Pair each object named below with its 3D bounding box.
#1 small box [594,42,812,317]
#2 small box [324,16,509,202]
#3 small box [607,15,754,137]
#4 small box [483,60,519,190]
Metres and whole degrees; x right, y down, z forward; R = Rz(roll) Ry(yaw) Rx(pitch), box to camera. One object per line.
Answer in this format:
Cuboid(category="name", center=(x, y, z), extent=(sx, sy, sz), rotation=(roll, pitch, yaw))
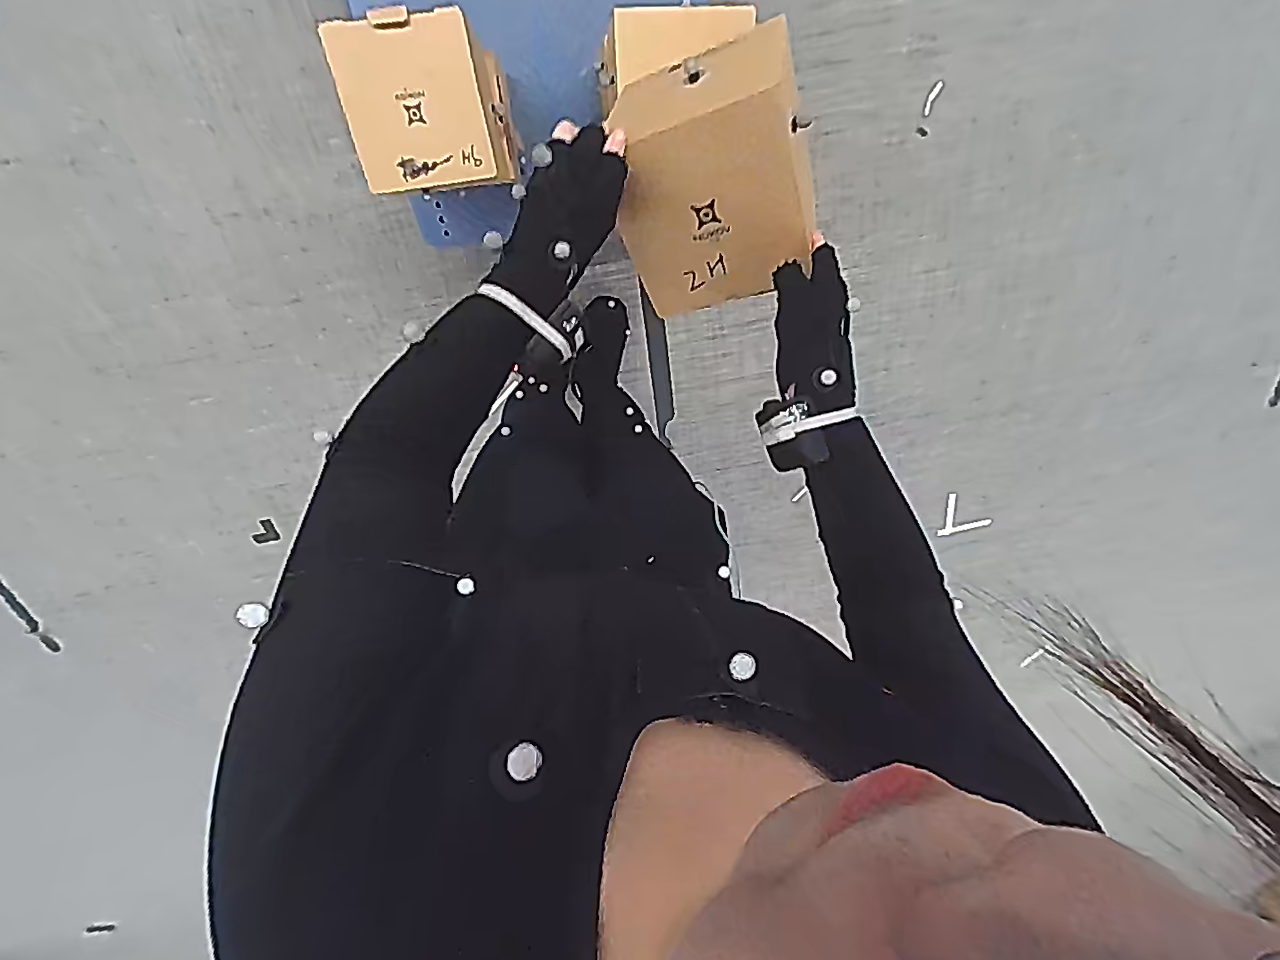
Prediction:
Cuboid(category="small box", center=(0.075, -0.300, 0.543), extent=(0.168, 0.176, 0.179), rotation=(-6, 140, 23))
Cuboid(category="small box", center=(-0.282, -0.482, 0.728), extent=(0.168, 0.176, 0.179), rotation=(-9, 118, -2))
Cuboid(category="small box", center=(0.046, -0.520, 0.754), extent=(0.179, 0.176, 0.168), rotation=(-6, 118, -6))
Cuboid(category="small box", center=(-0.296, -0.558, 0.872), extent=(0.179, 0.176, 0.168), rotation=(-6, 118, -3))
